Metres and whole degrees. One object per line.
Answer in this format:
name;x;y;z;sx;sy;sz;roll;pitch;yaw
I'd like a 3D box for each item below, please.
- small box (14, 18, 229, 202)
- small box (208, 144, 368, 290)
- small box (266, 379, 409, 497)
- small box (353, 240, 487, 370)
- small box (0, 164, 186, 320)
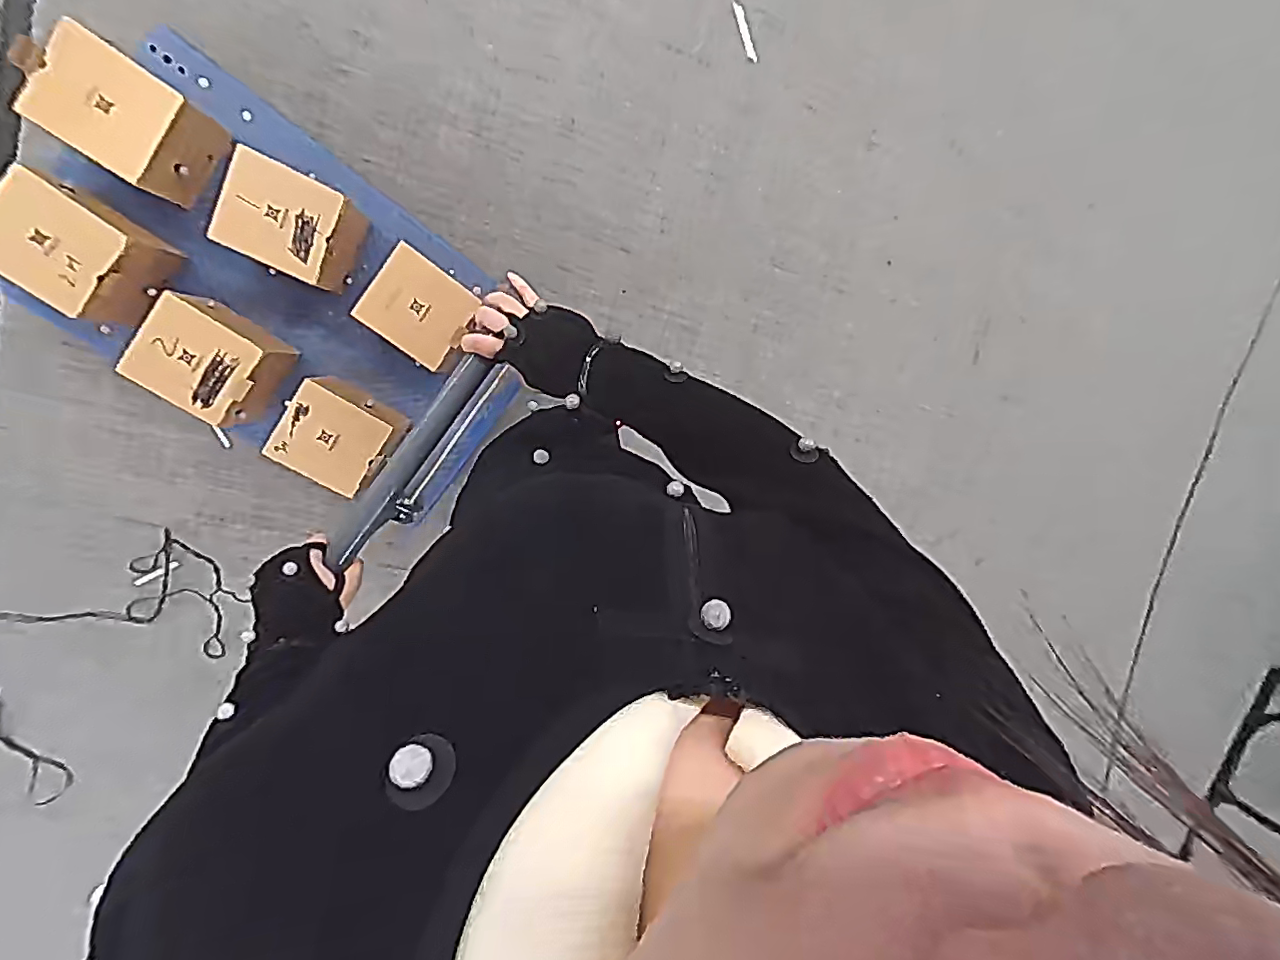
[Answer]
small box;-0.854;-0.602;0.915;0.179;0.176;0.168;32;94;-17
small box;-0.631;-0.466;0.995;0.179;0.176;0.168;22;96;-15
small box;-0.591;-0.093;1.087;0.179;0.176;0.168;31;93;-17
small box;-0.421;-0.338;1.073;0.179;0.176;0.168;35;92;-17
small box;-0.960;-0.393;0.937;0.179;0.176;0.168;37;93;-18
